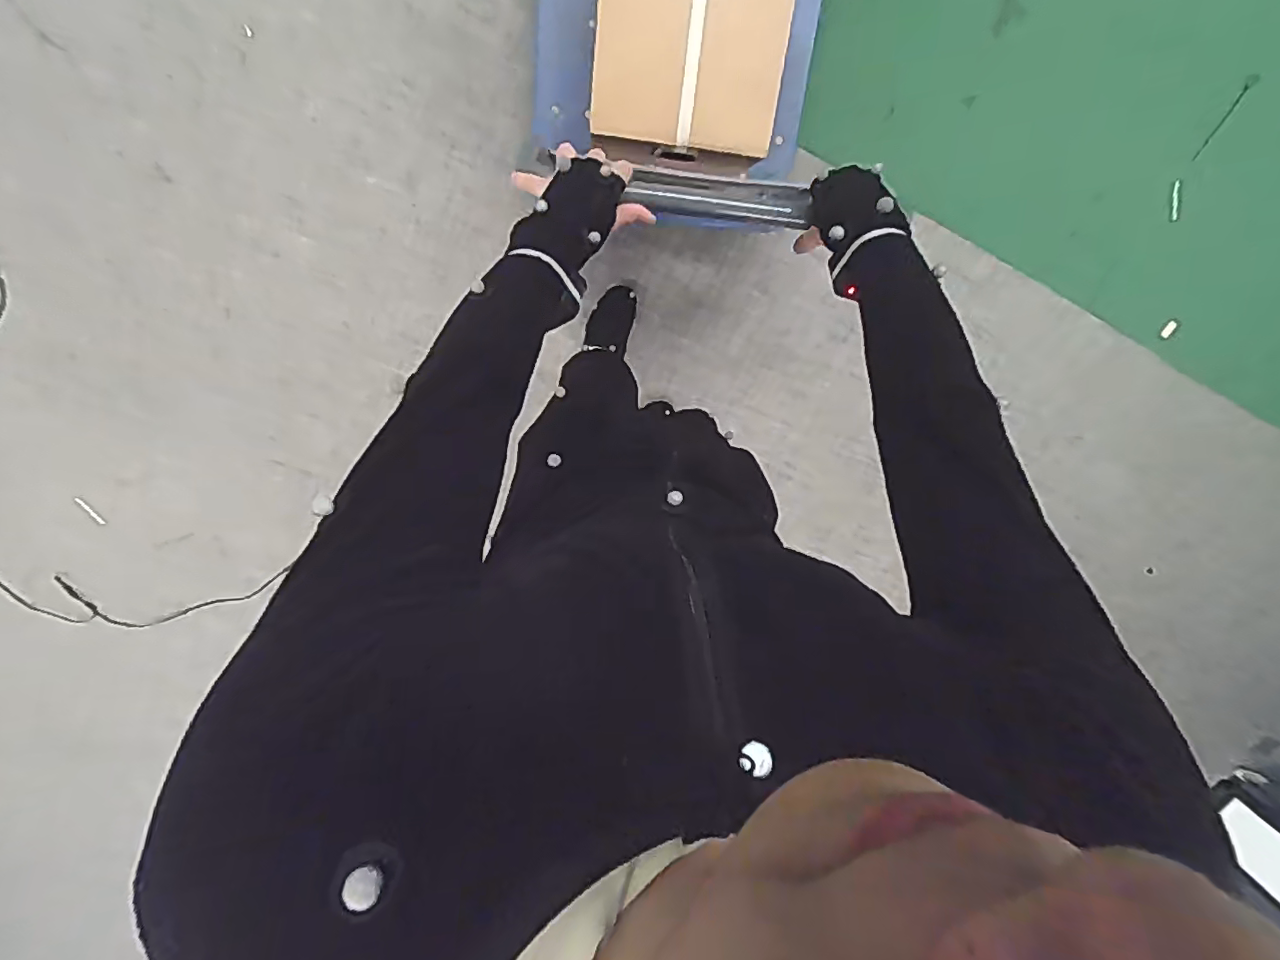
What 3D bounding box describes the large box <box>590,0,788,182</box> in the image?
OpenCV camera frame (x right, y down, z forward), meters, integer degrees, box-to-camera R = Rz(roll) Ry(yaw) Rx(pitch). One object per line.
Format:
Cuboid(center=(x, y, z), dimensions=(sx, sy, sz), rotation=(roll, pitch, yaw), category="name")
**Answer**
Cuboid(center=(0.076, -0.816, 1.009), dimensions=(0.320, 0.320, 0.408), rotation=(4, 111, -6), category="large box")
